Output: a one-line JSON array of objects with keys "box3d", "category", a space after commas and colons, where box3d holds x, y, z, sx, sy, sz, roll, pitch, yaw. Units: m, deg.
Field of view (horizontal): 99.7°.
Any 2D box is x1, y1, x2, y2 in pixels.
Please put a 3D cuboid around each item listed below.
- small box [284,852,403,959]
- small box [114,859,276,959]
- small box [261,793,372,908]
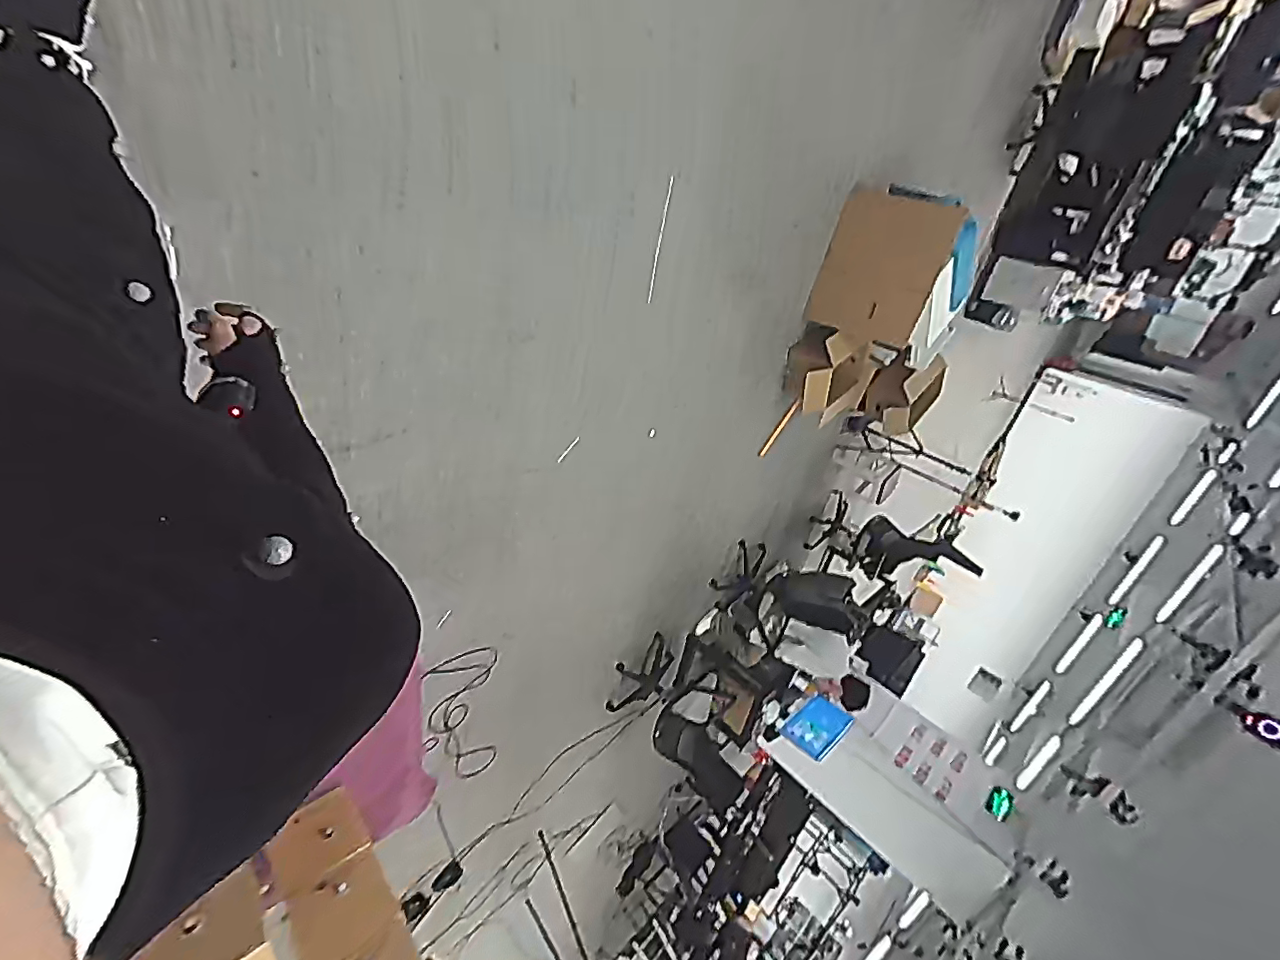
[{"box3d": [-0.600, 0.912, 1.095, 0.168, 0.176, 0.179, -14, 127, -45], "category": "small box"}, {"box3d": [-0.693, 0.750, 0.852, 0.168, 0.176, 0.179, -16, 129, -42], "category": "small box"}, {"box3d": [-0.708, 0.834, 1.191, 0.168, 0.176, 0.179, -19, 131, -42], "category": "small box"}]
